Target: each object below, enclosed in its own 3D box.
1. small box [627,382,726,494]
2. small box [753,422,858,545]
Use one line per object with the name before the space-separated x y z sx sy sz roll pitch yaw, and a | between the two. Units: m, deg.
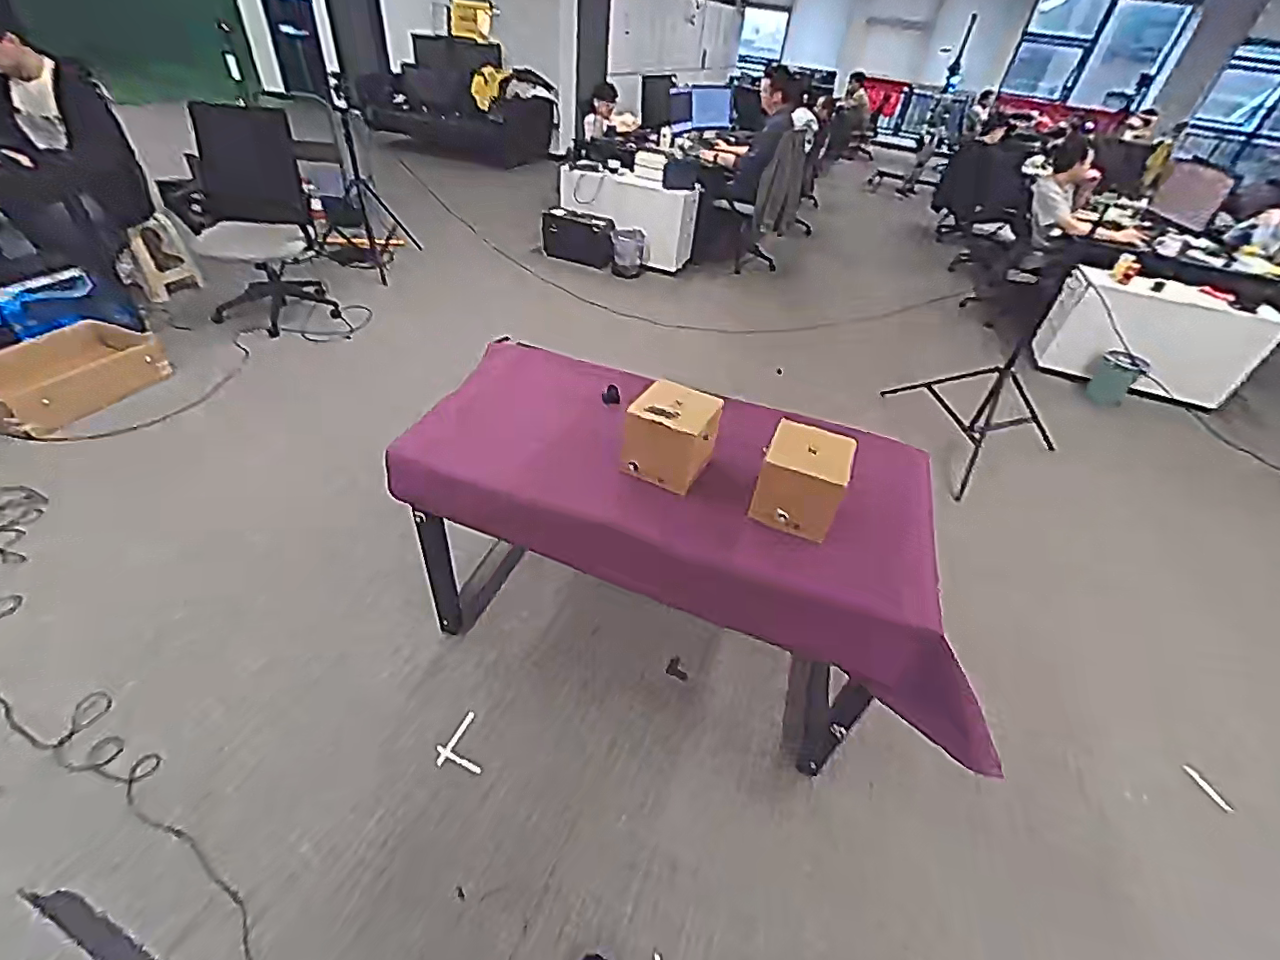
small box | 0.079 -0.096 1.243 0.168 0.176 0.179 23 41 17
small box | 0.353 0.006 1.167 0.168 0.176 0.179 18 42 15
